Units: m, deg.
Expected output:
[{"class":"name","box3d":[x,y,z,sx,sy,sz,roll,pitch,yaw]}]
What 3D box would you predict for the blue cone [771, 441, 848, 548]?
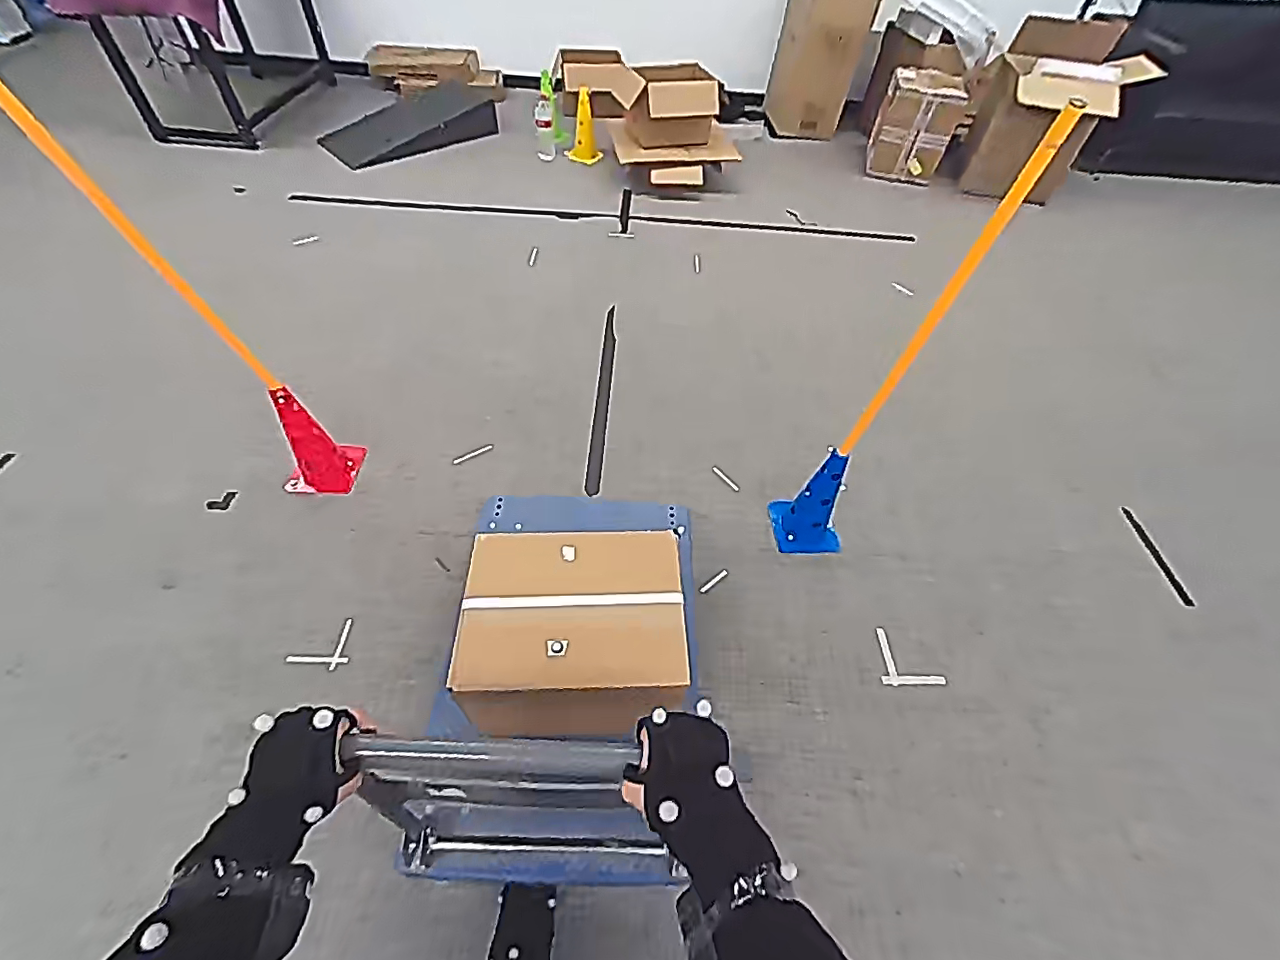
[{"class":"blue cone","box3d":[0.536,0.033,1.601,0.193,0.380,0.192,0,51,-5]}]
